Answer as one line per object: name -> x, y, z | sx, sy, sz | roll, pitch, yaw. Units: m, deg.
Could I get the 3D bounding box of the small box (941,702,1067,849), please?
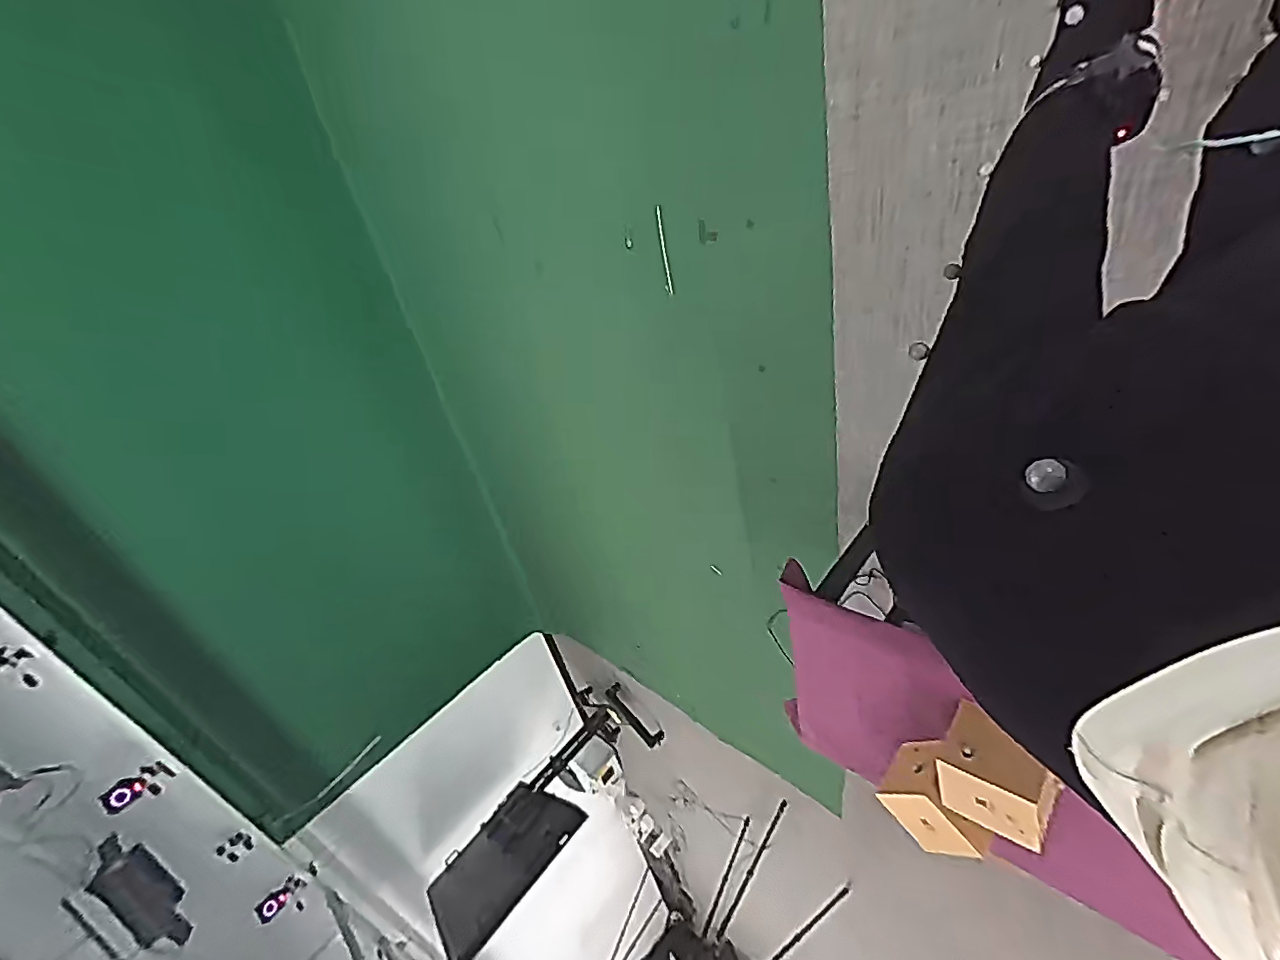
small box -> 0.746, 0.592, 1.110 | 0.179, 0.176, 0.168 | 9, 129, 46

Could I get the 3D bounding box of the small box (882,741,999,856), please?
small box -> 0.726, 0.745, 1.287 | 0.179, 0.176, 0.168 | 46, 146, 8
